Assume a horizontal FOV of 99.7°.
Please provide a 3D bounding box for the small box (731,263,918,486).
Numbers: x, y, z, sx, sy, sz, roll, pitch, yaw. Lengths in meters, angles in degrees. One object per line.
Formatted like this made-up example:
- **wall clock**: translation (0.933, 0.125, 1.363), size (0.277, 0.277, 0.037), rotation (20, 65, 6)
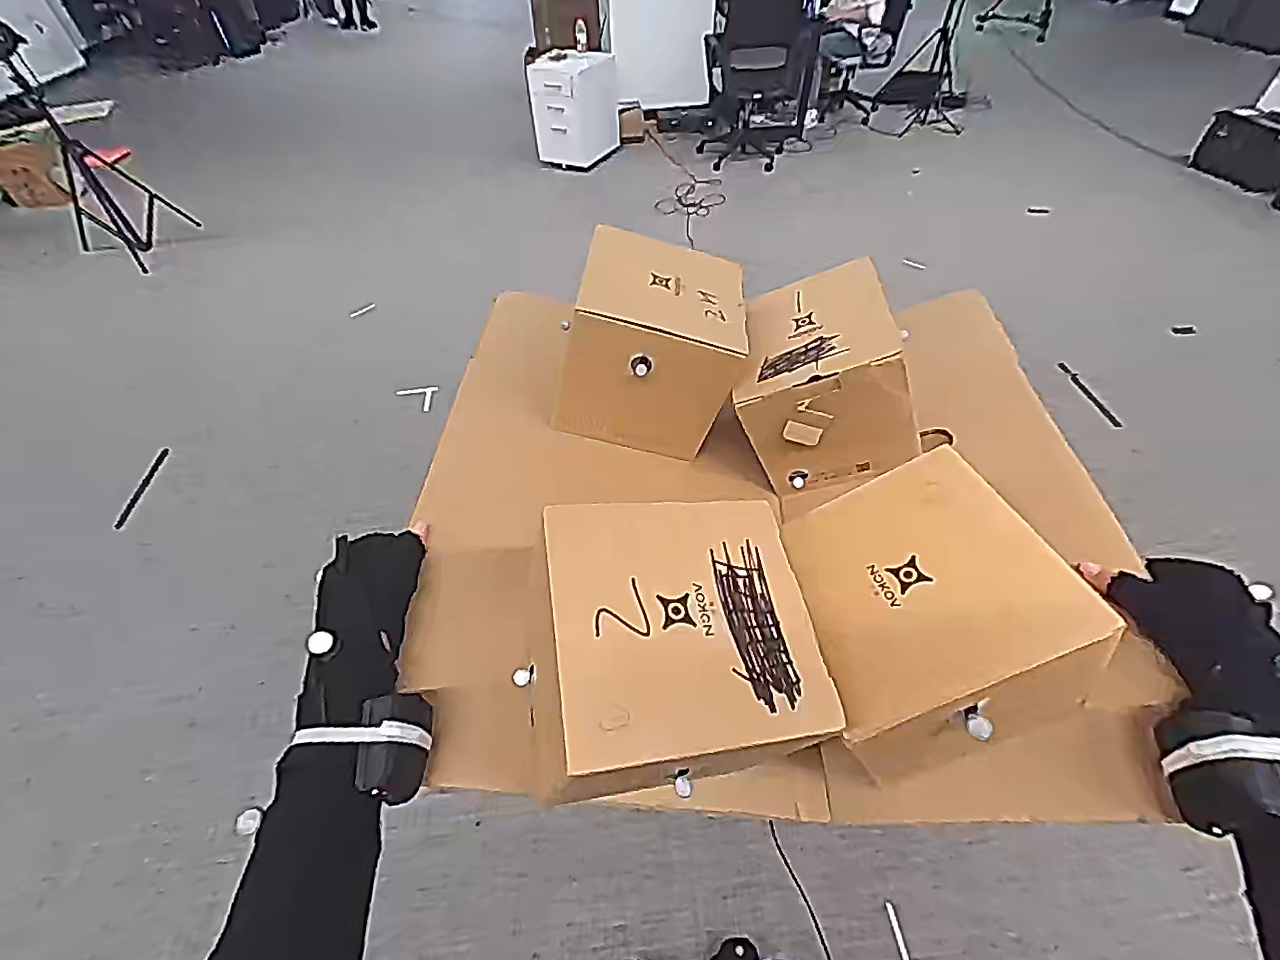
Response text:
- **small box**: translation (0.214, -0.110, 0.635), size (0.168, 0.176, 0.179), rotation (-14, 46, 24)
